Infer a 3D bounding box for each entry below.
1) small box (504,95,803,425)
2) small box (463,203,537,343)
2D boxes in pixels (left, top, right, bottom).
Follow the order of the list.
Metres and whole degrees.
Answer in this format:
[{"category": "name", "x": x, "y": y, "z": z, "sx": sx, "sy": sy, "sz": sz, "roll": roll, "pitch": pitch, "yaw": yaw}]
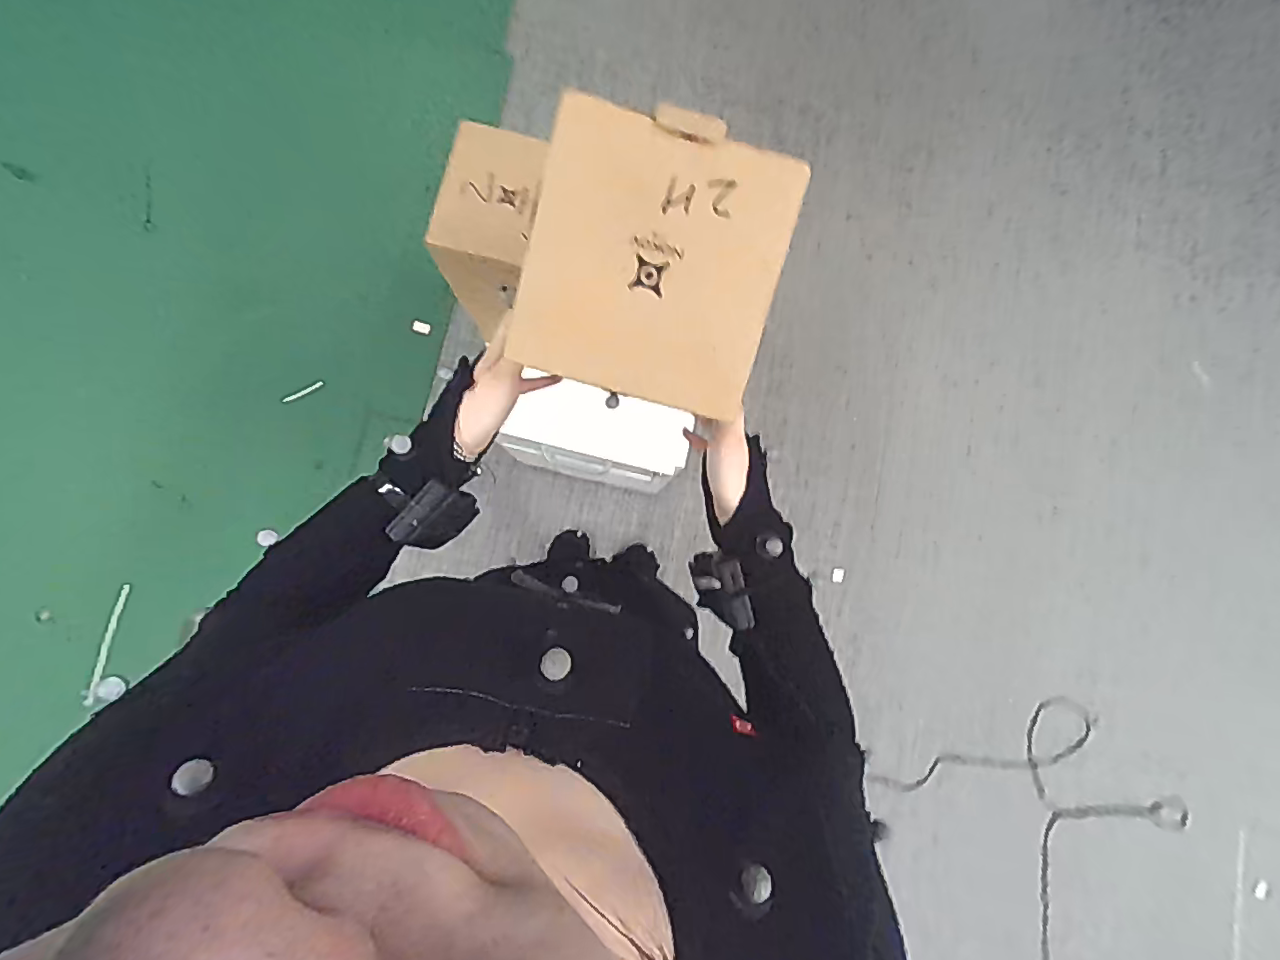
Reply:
[{"category": "small box", "x": 0.005, "y": -0.154, "z": 0.440, "sx": 0.168, "sy": 0.176, "sz": 0.179, "roll": 15, "pitch": 98, "yaw": -4}, {"category": "small box", "x": -0.166, "y": -0.315, "z": 0.891, "sx": 0.179, "sy": 0.176, "sz": 0.168, "roll": 13, "pitch": 84, "yaw": -3}]
